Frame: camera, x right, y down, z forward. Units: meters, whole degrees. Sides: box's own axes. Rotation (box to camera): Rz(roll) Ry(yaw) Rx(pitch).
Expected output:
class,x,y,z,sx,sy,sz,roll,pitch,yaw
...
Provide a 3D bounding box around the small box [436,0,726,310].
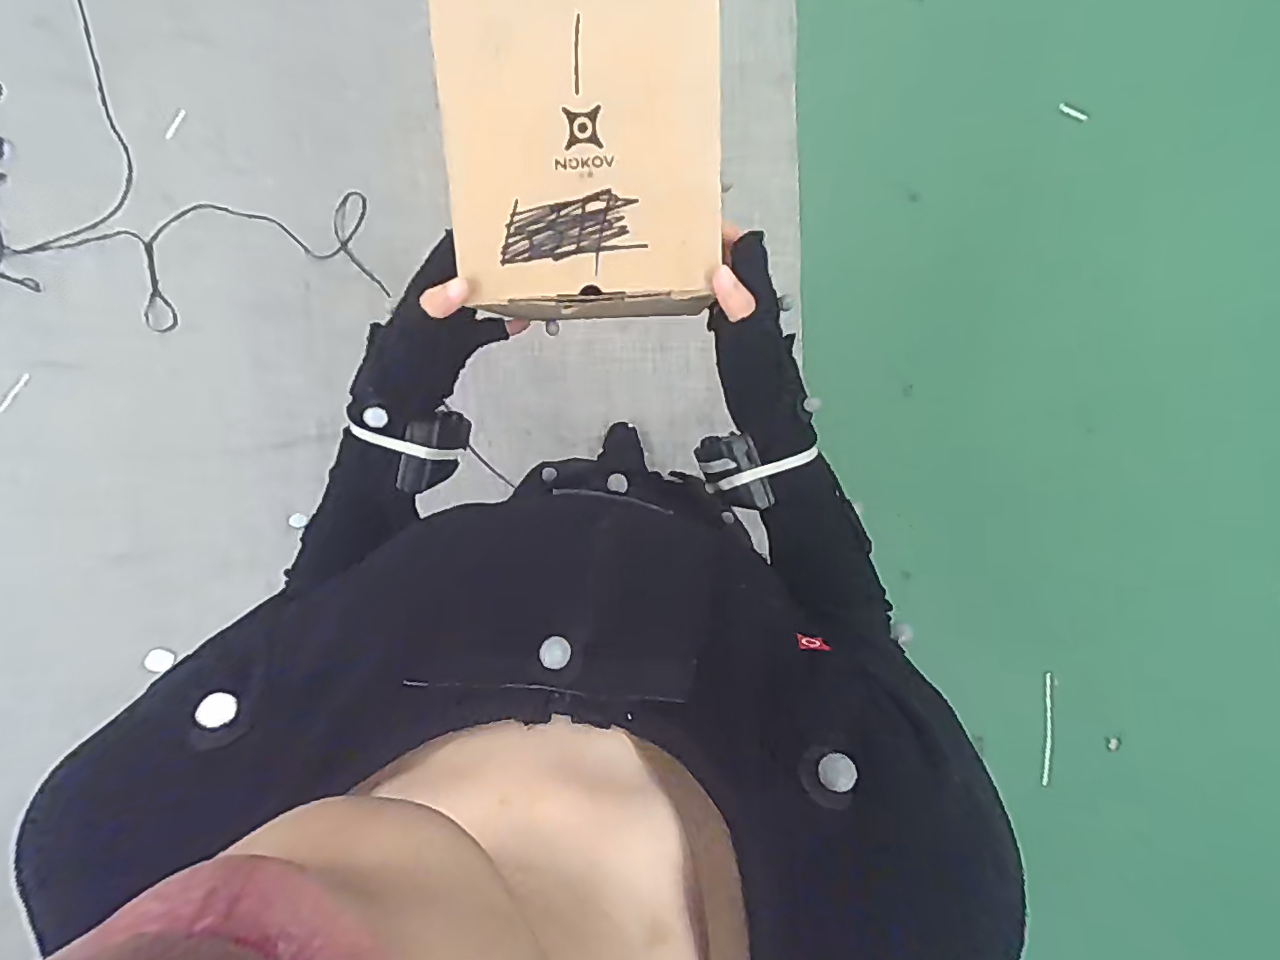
class,x,y,z,sx,sy,sz,roll,pitch,yaw
small box,-0.028,-0.220,0.393,0.168,0.176,0.179,-2,102,2
